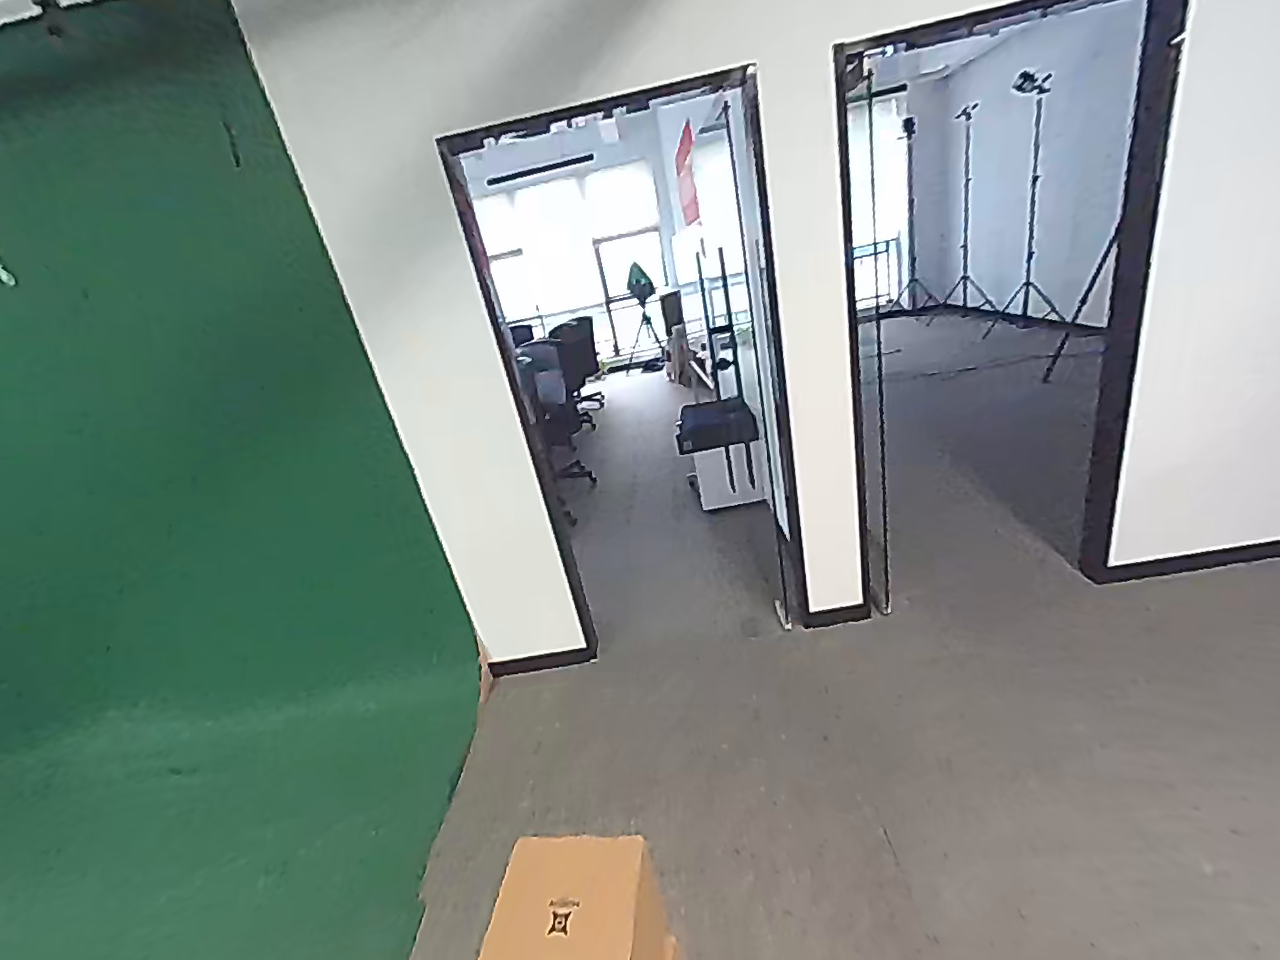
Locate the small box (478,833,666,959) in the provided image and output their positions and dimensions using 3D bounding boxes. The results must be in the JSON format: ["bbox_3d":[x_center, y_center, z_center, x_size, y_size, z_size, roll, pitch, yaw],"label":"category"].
[{"bbox_3d":[-0.067,0.547,0.623,0.168,0.176,0.179,-8,21,11],"label":"small box"}]
